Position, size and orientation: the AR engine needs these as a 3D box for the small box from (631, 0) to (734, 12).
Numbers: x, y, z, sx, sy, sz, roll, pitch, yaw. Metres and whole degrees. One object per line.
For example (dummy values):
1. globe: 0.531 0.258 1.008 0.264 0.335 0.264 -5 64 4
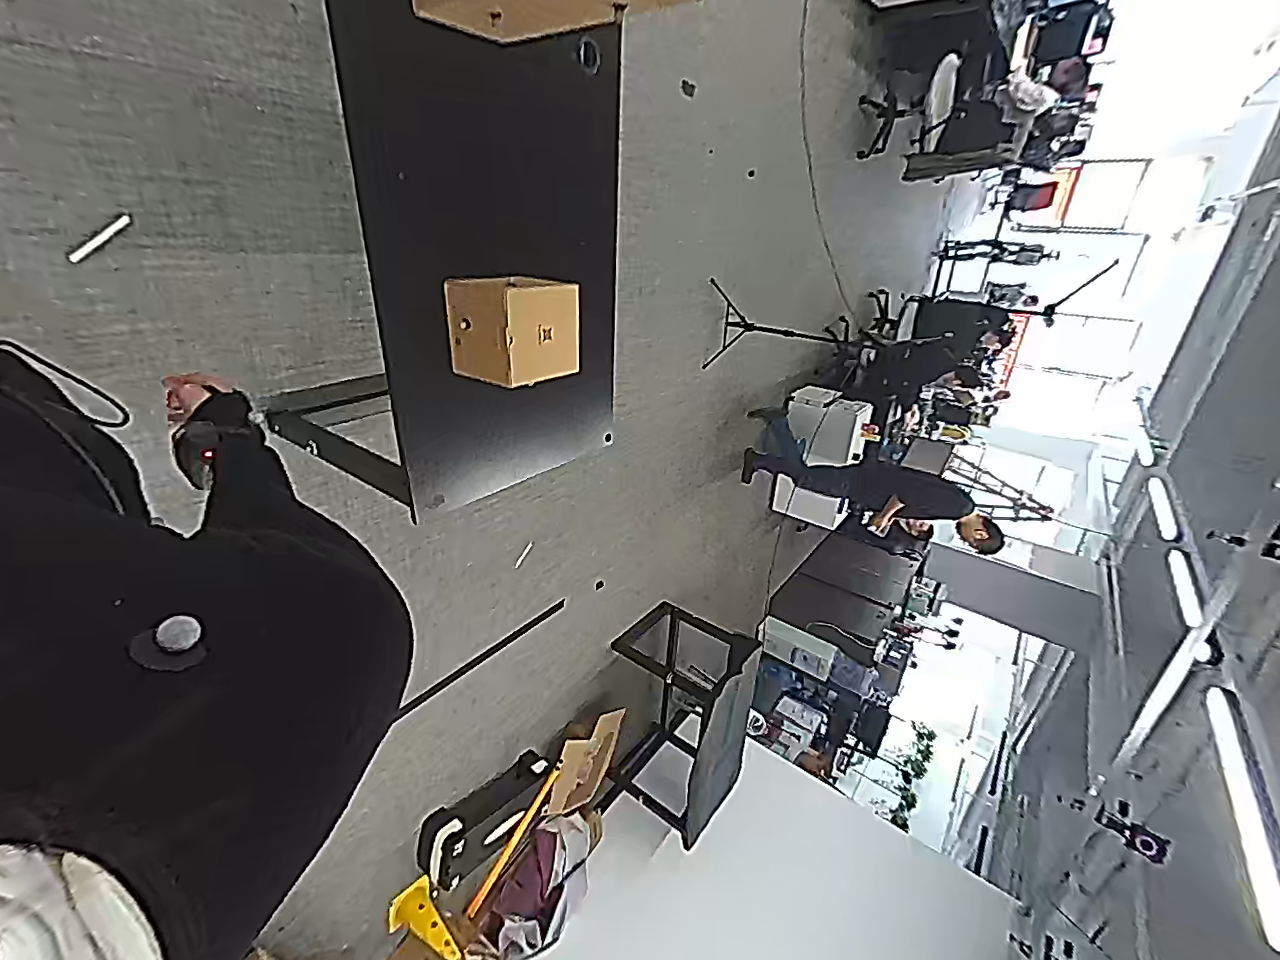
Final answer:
1. small box: 0.048 -0.665 0.611 0.179 0.176 0.168 -29 128 -46

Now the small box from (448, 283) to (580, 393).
1. small box: -0.232 -0.275 1.016 0.179 0.176 0.168 -28 128 -47

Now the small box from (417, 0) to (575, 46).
1. small box: -0.214 -0.759 0.785 0.179 0.176 0.168 -29 130 -46

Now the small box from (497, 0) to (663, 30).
1. small box: -0.081 -0.712 0.698 0.179 0.176 0.168 -28 128 -46
